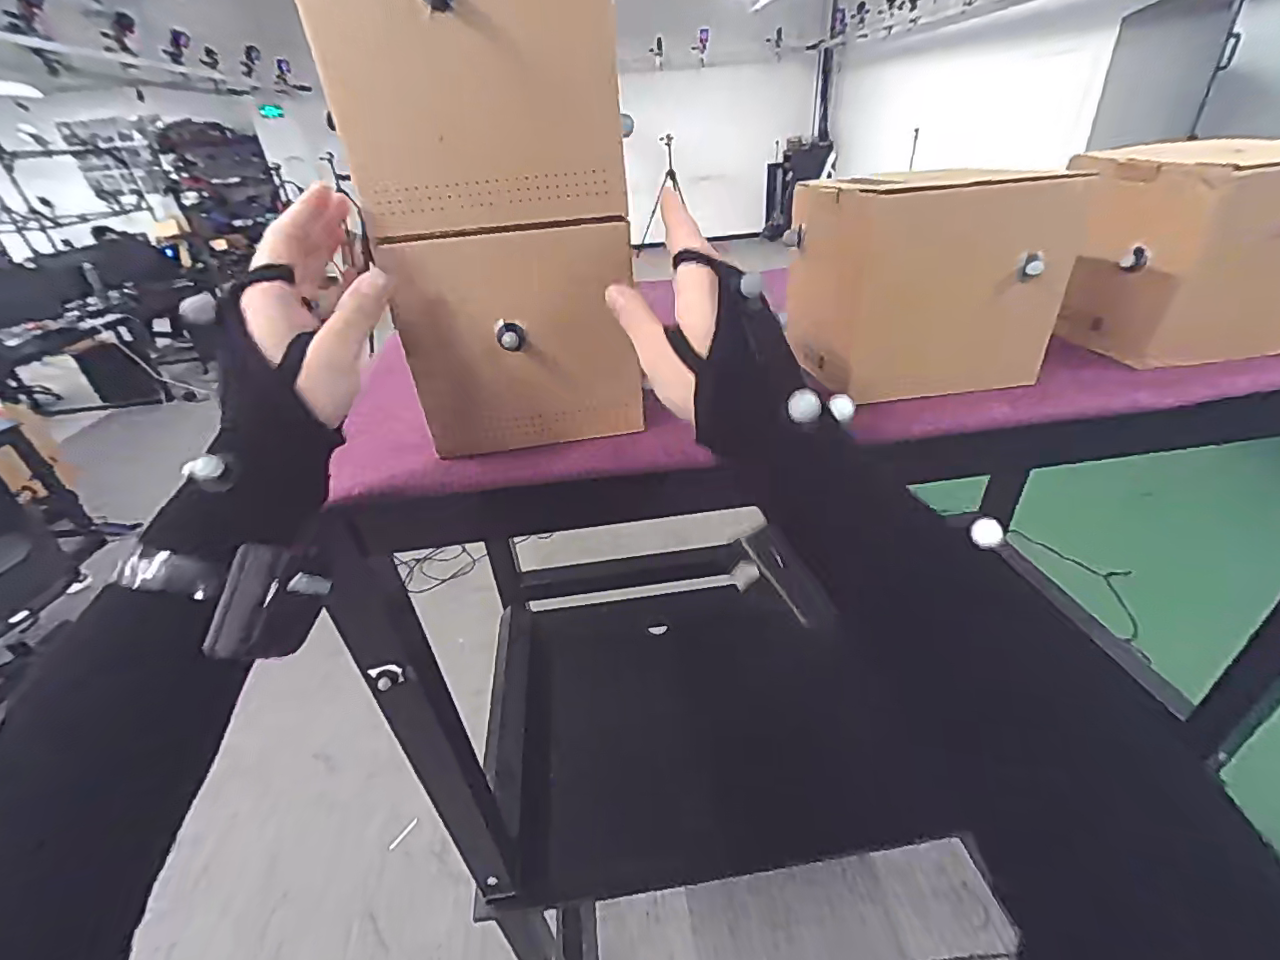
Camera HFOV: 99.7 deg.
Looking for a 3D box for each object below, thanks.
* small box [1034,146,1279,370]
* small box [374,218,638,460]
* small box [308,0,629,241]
[{"bbox_3d":[0.523,-0.213,0.518,0.179,0.176,0.168,-6,34,-2],"label":"small box"},{"bbox_3d":[-0.098,-0.135,0.475,0.179,0.176,0.168,-9,32,-5],"label":"small box"},{"bbox_3d":[-0.108,-0.275,0.390,0.179,0.176,0.168,-7,32,-4],"label":"small box"}]
